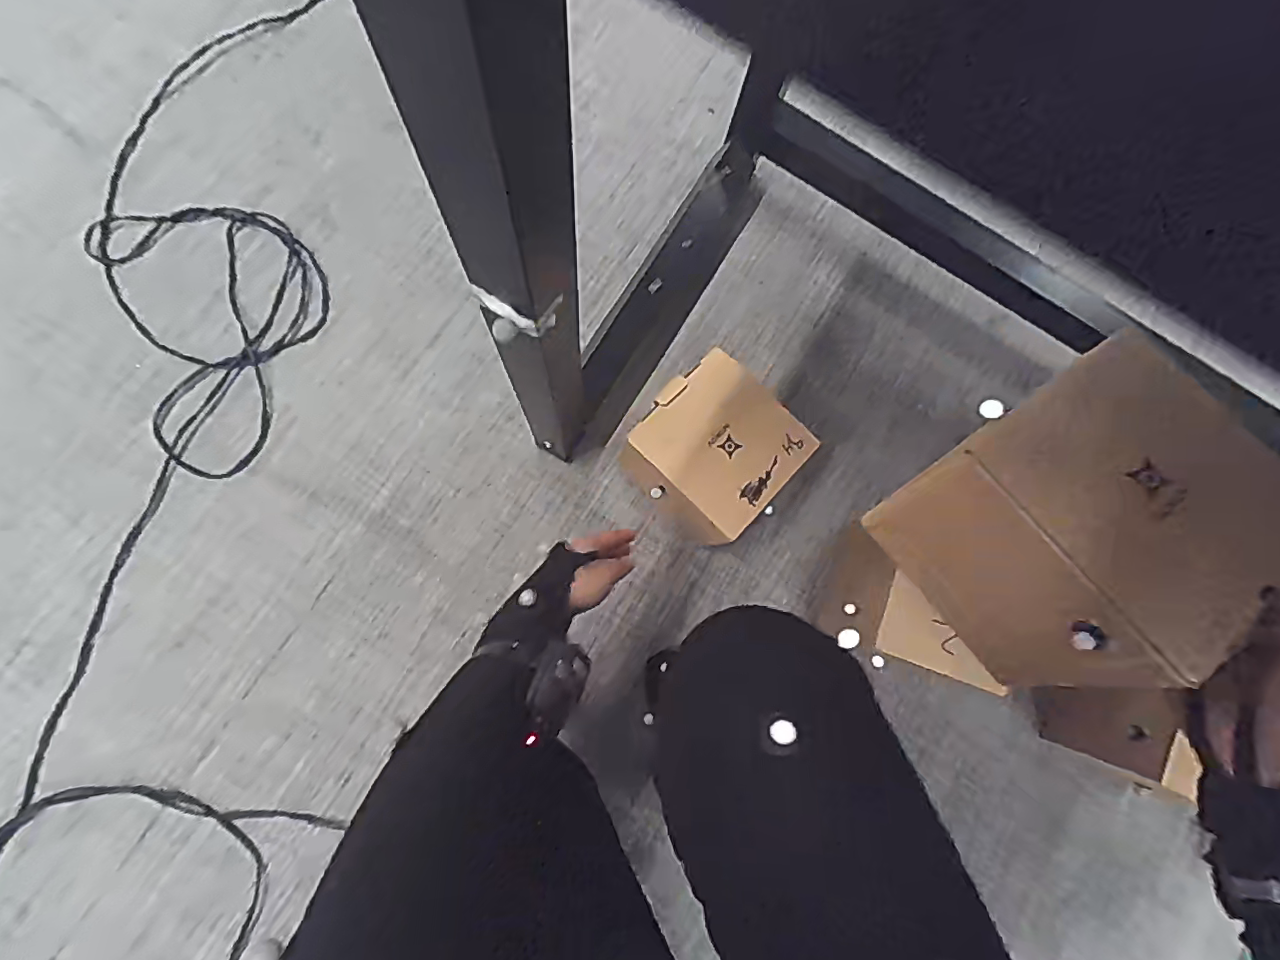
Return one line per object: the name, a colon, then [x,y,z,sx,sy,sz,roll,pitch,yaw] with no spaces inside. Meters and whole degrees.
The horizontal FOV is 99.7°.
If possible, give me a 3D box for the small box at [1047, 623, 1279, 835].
small box: [0.691,0.310,0.714,0.168,0.176,0.179,27,80,-1]
